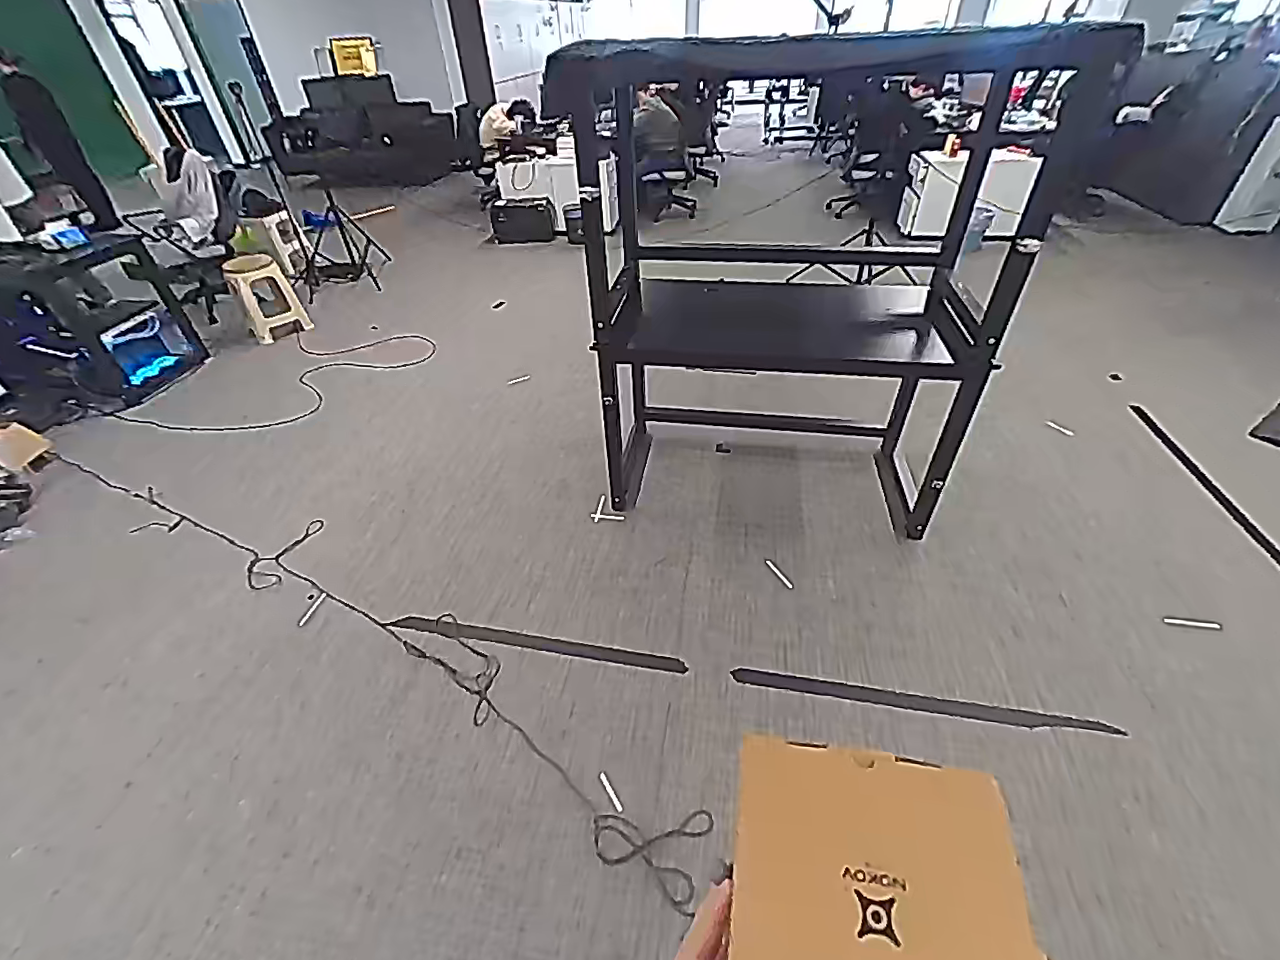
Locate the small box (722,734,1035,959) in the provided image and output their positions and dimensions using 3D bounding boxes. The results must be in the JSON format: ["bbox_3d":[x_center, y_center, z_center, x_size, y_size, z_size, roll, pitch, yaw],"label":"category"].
[{"bbox_3d":[0.143,0.306,0.367,0.168,0.176,0.179,4,43,11],"label":"small box"}]
